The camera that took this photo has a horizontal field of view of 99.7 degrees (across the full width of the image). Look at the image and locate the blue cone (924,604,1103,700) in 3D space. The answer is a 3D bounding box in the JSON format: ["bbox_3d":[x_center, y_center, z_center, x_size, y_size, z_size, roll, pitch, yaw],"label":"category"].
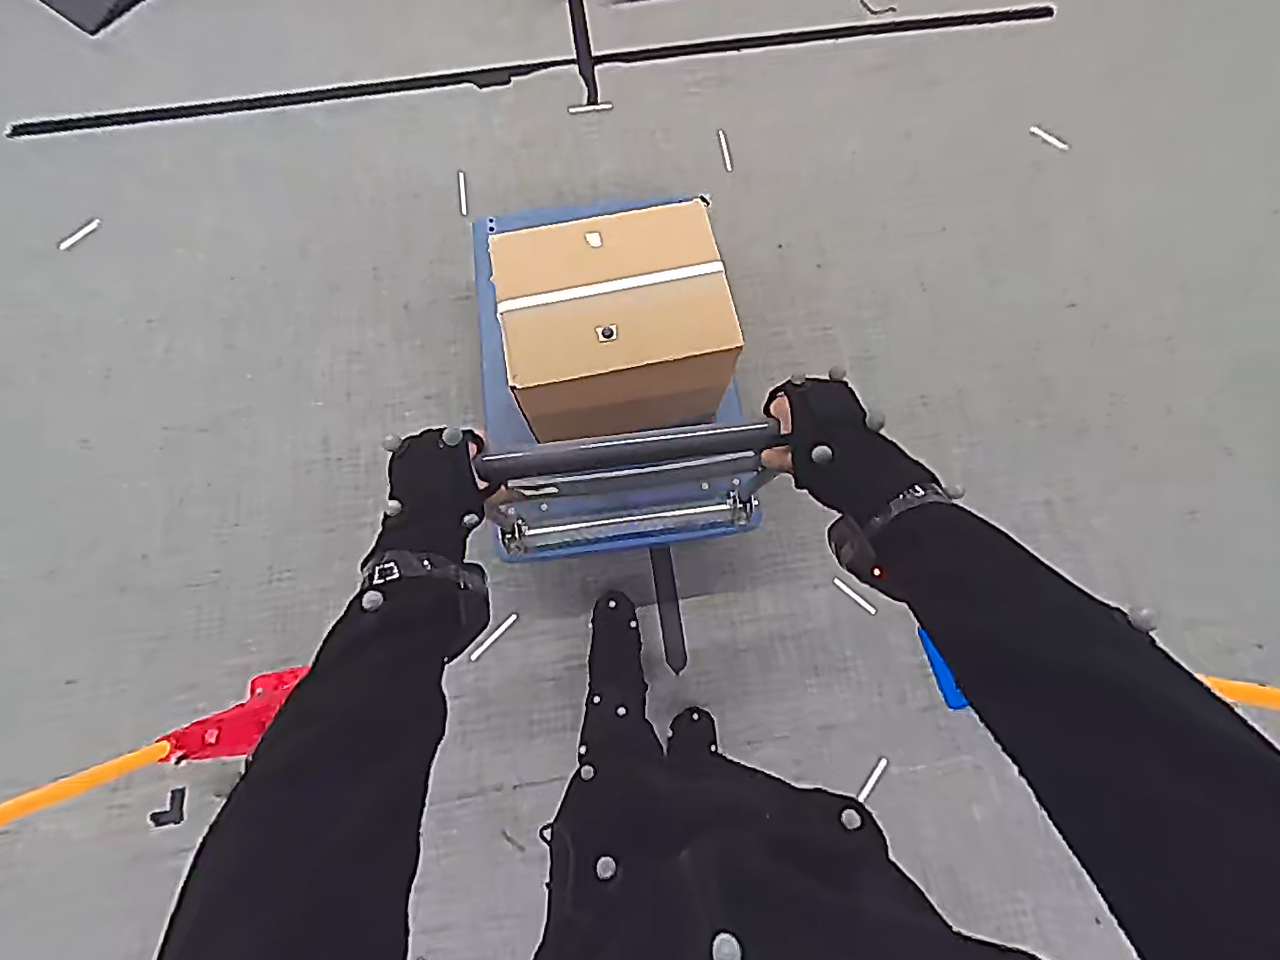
[{"bbox_3d":[0.777,0.354,1.099,0.193,0.380,0.192,-12,74,-5],"label":"blue cone"}]
